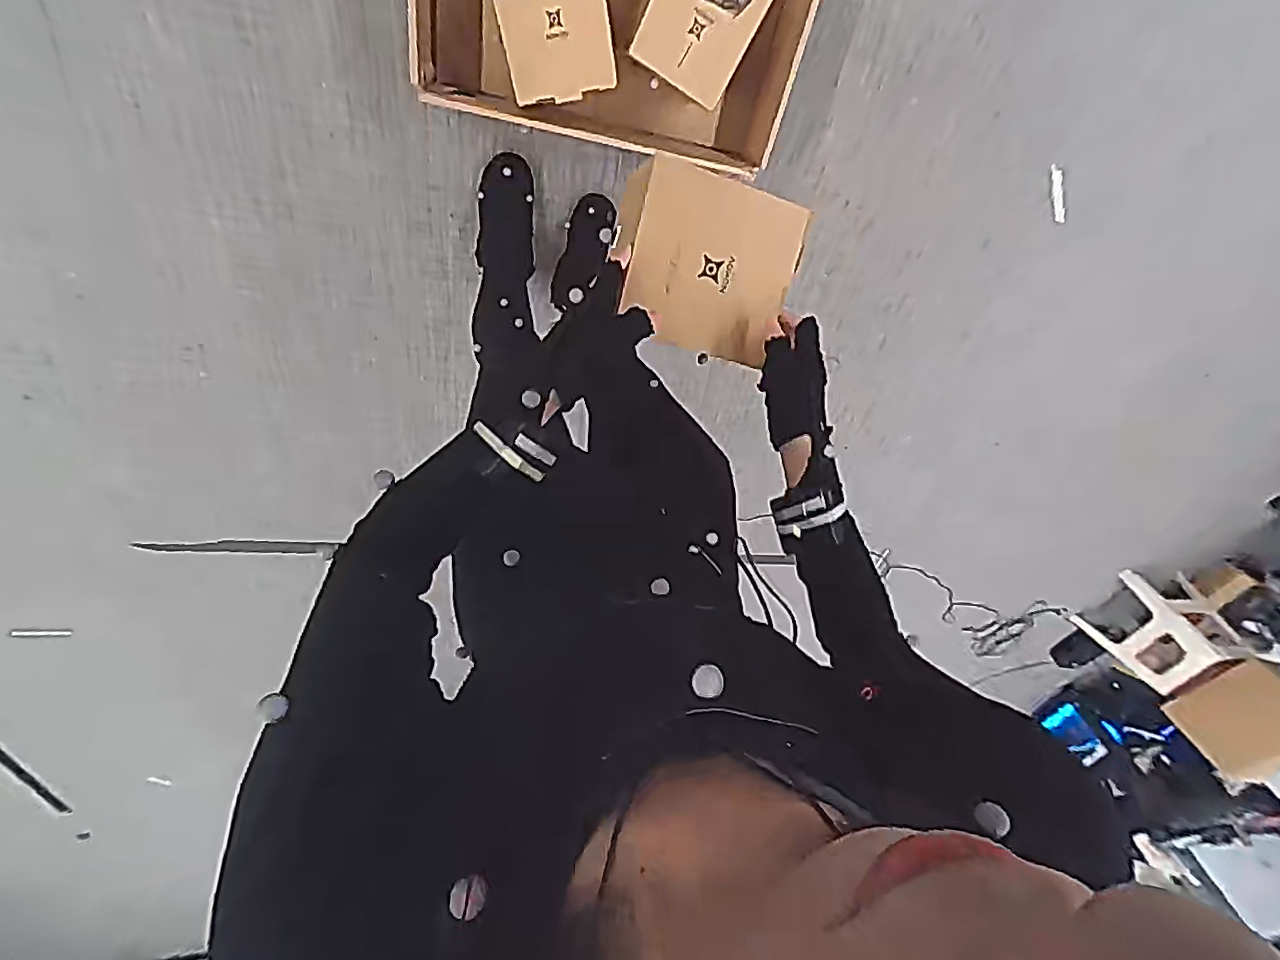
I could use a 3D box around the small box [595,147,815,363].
[{"bbox_3d":[0.058,-0.244,0.615,0.179,0.176,0.168,11,106,-16],"label":"small box"}]
